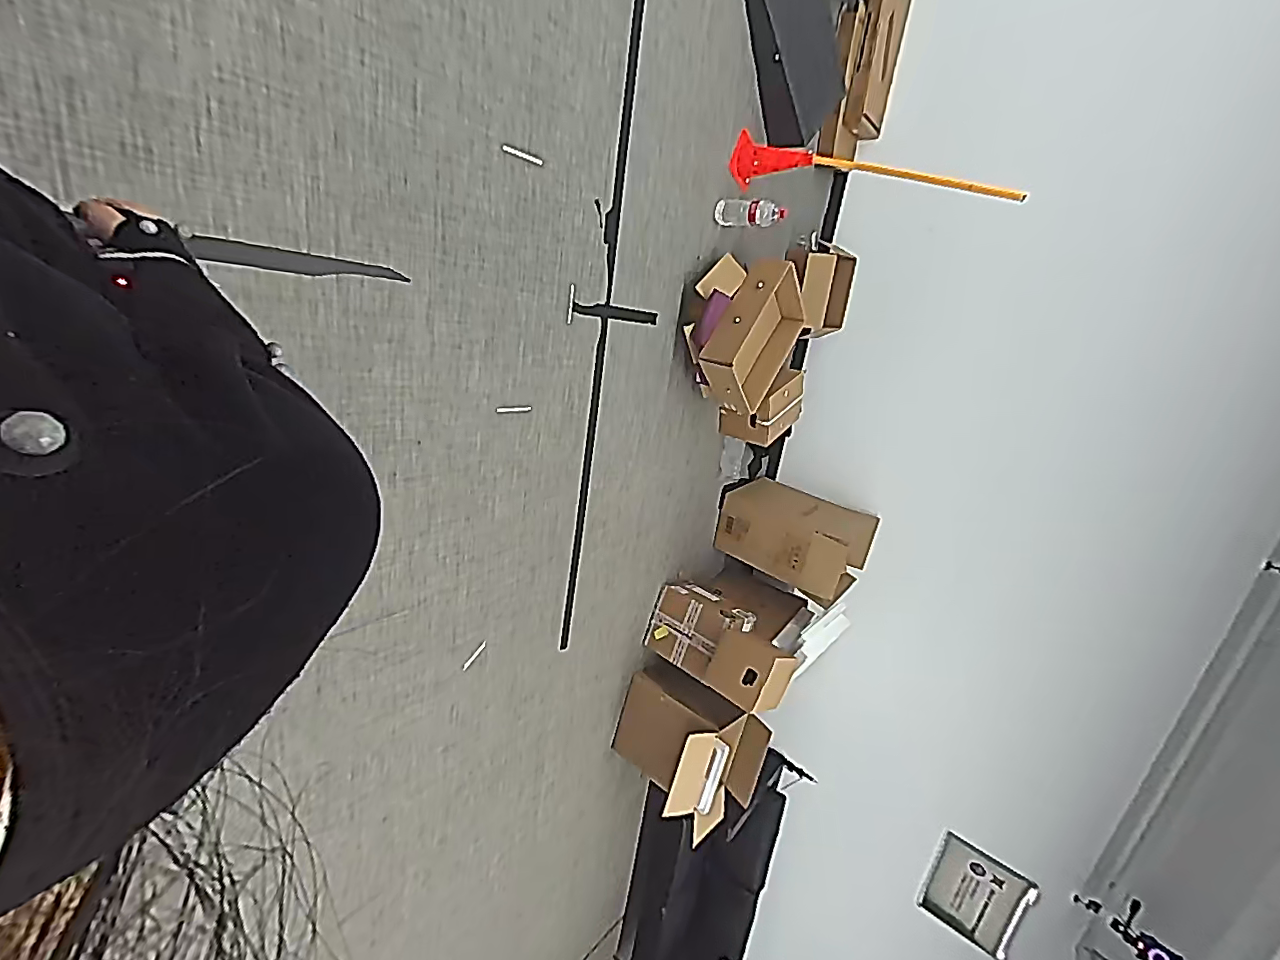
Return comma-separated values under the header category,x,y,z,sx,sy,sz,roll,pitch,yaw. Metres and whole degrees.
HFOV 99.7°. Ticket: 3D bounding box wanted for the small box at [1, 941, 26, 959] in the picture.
category,x,y,z,sx,sy,sz,roll,pitch,yaw
small box,-1.455,1.167,1.176,0.168,0.176,0.179,-23,125,-47
